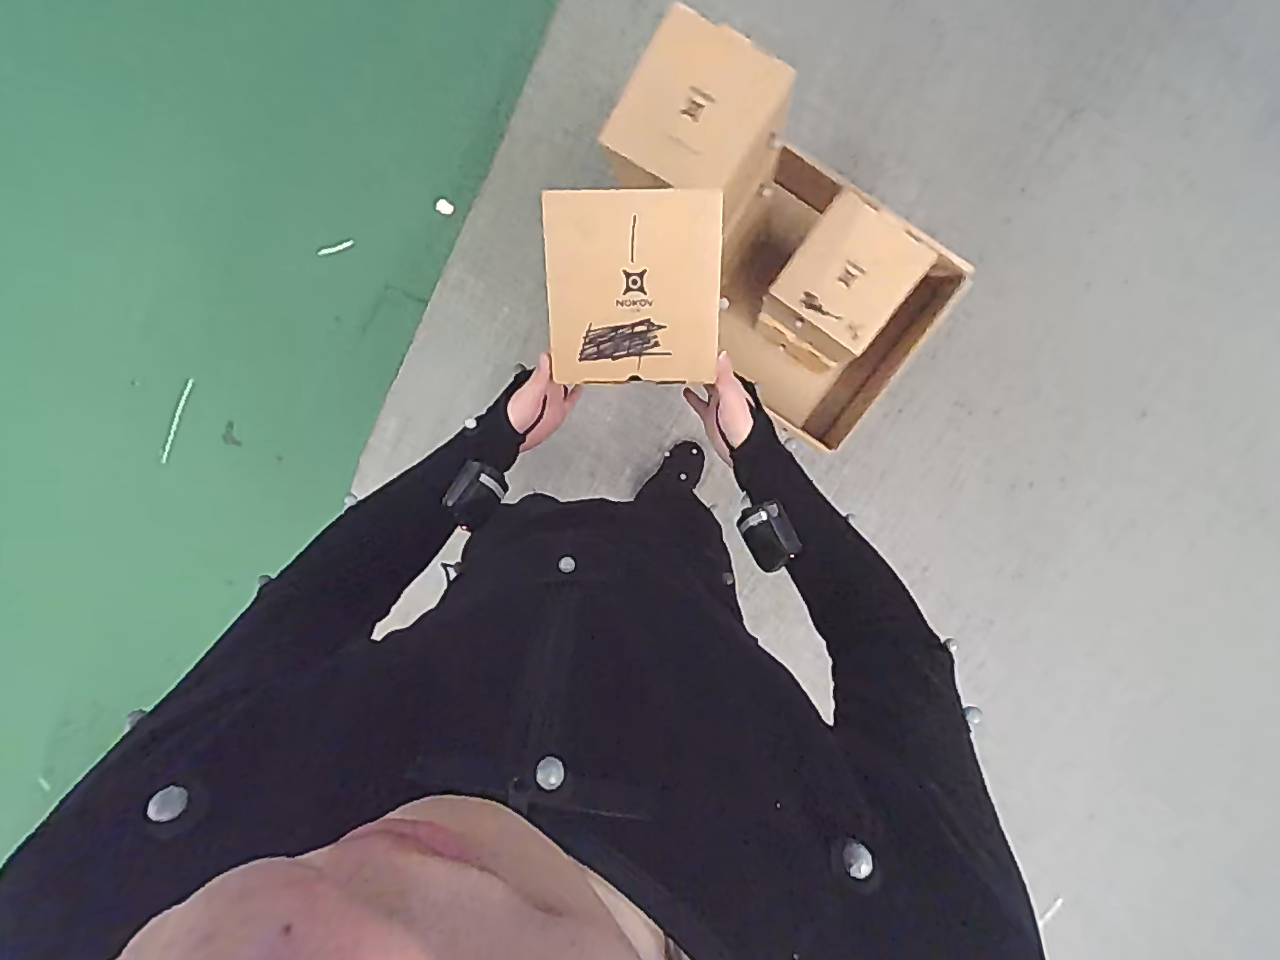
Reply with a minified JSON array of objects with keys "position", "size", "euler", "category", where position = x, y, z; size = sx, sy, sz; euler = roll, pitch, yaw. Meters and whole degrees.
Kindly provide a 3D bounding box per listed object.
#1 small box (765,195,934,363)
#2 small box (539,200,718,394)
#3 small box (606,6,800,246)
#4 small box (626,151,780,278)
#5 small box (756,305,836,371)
[{"position":[0.318,-0.307,0.868],"size":[0.168,0.176,0.179],"euler":[37,102,1],"category":"small box"},{"position":[-0.008,-0.199,0.591],"size":[0.168,0.176,0.179],"euler":[-1,110,1],"category":"small box"},{"position":[0.079,-0.440,0.710],"size":[0.168,0.176,0.179],"euler":[34,101,2],"category":"small box"},{"position":[0.099,-0.453,0.871],"size":[0.168,0.176,0.179],"euler":[33,101,2],"category":"small box"},{"position":[0.335,-0.325,1.031],"size":[0.168,0.176,0.179],"euler":[35,103,1],"category":"small box"}]
